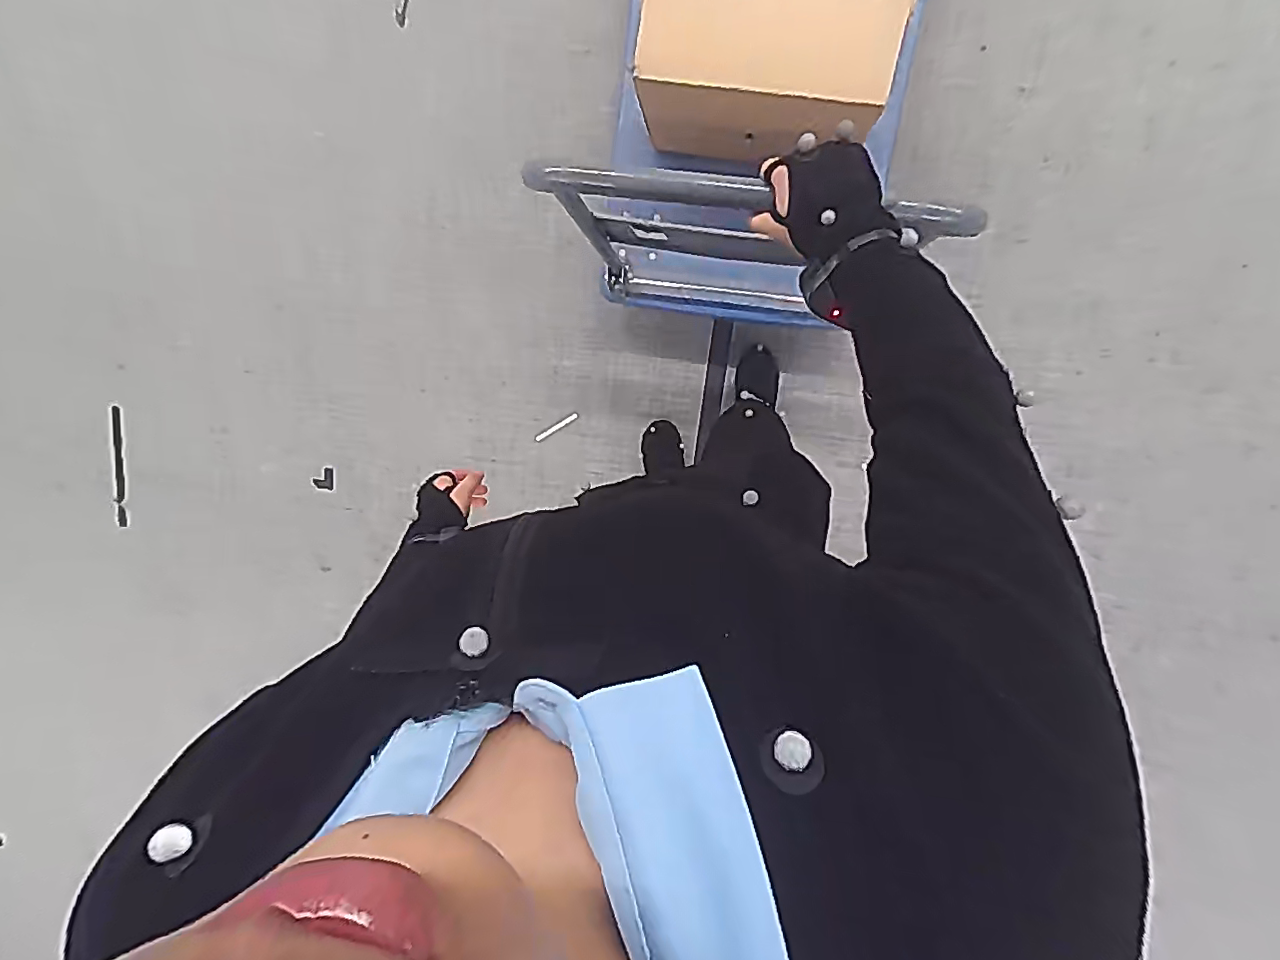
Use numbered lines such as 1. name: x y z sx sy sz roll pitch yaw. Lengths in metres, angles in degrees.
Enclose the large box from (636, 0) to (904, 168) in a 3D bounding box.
1. large box: 0.232 -0.798 0.979 0.408 0.320 0.320 11 102 7
